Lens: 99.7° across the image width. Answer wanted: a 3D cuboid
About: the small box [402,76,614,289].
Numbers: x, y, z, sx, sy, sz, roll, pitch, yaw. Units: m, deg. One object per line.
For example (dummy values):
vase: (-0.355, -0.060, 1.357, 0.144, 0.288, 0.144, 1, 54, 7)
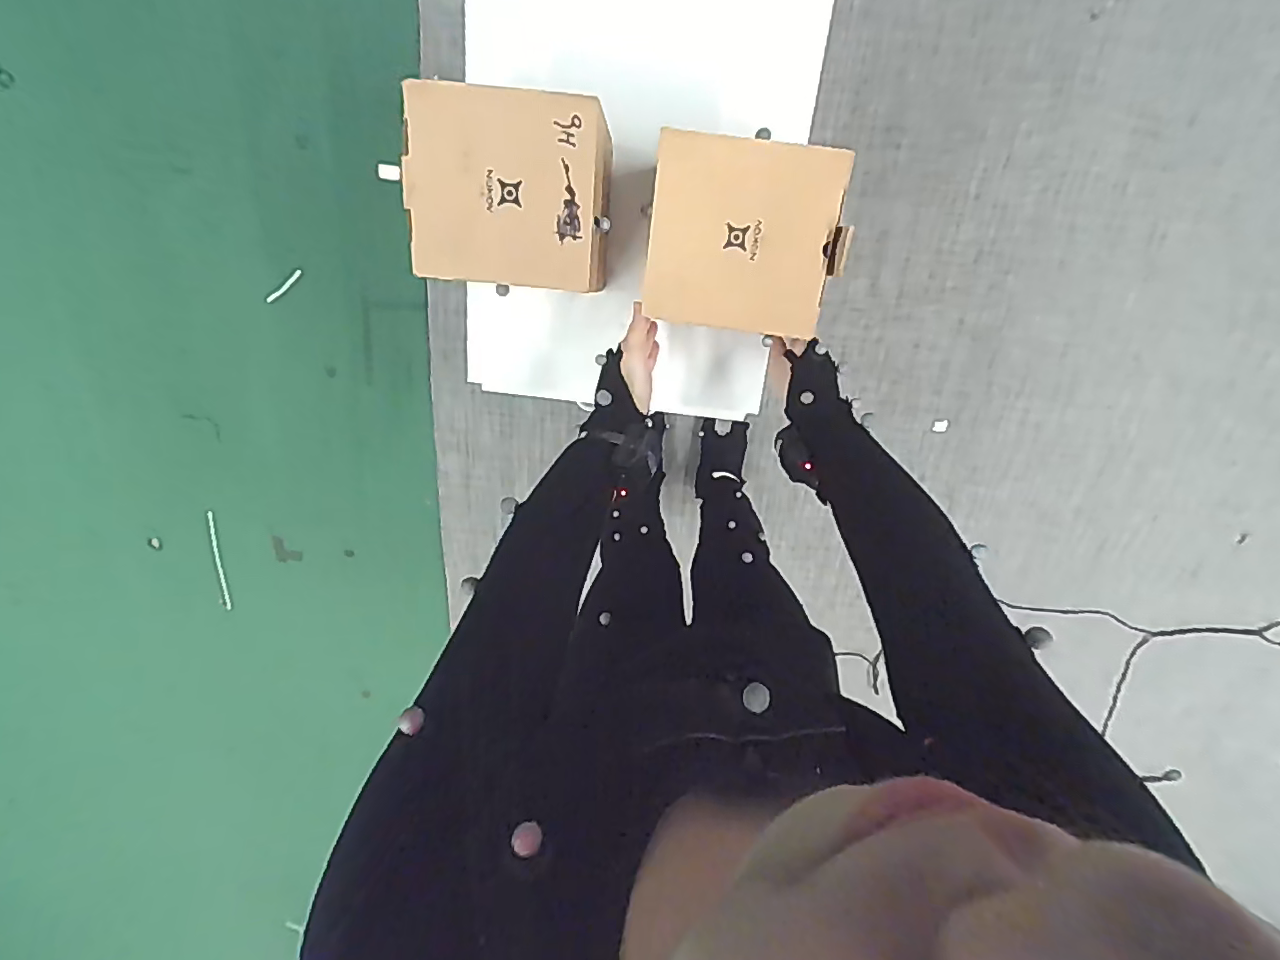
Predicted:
small box: (-0.127, -0.297, 0.574, 0.179, 0.176, 0.168, 5, 111, 0)
